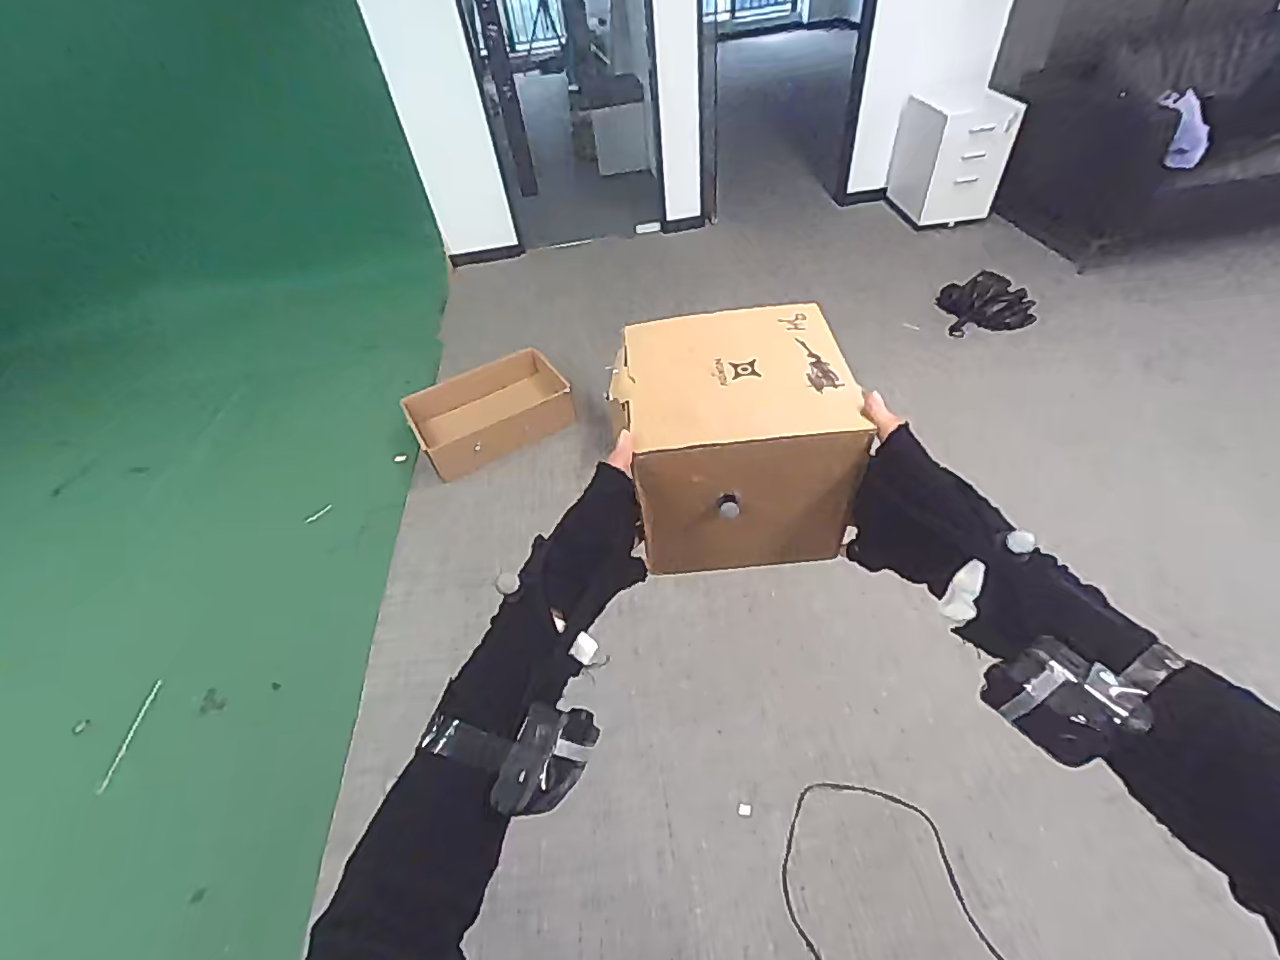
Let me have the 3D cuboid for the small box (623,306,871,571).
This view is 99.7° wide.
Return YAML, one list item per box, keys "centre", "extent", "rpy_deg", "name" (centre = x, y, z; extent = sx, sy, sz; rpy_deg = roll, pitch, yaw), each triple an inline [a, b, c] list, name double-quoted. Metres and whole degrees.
- centre: [0.084, -0.031, 0.492]
  extent: [0.179, 0.176, 0.168]
  rpy_deg: [-7, 49, 3]
  name: "small box"
